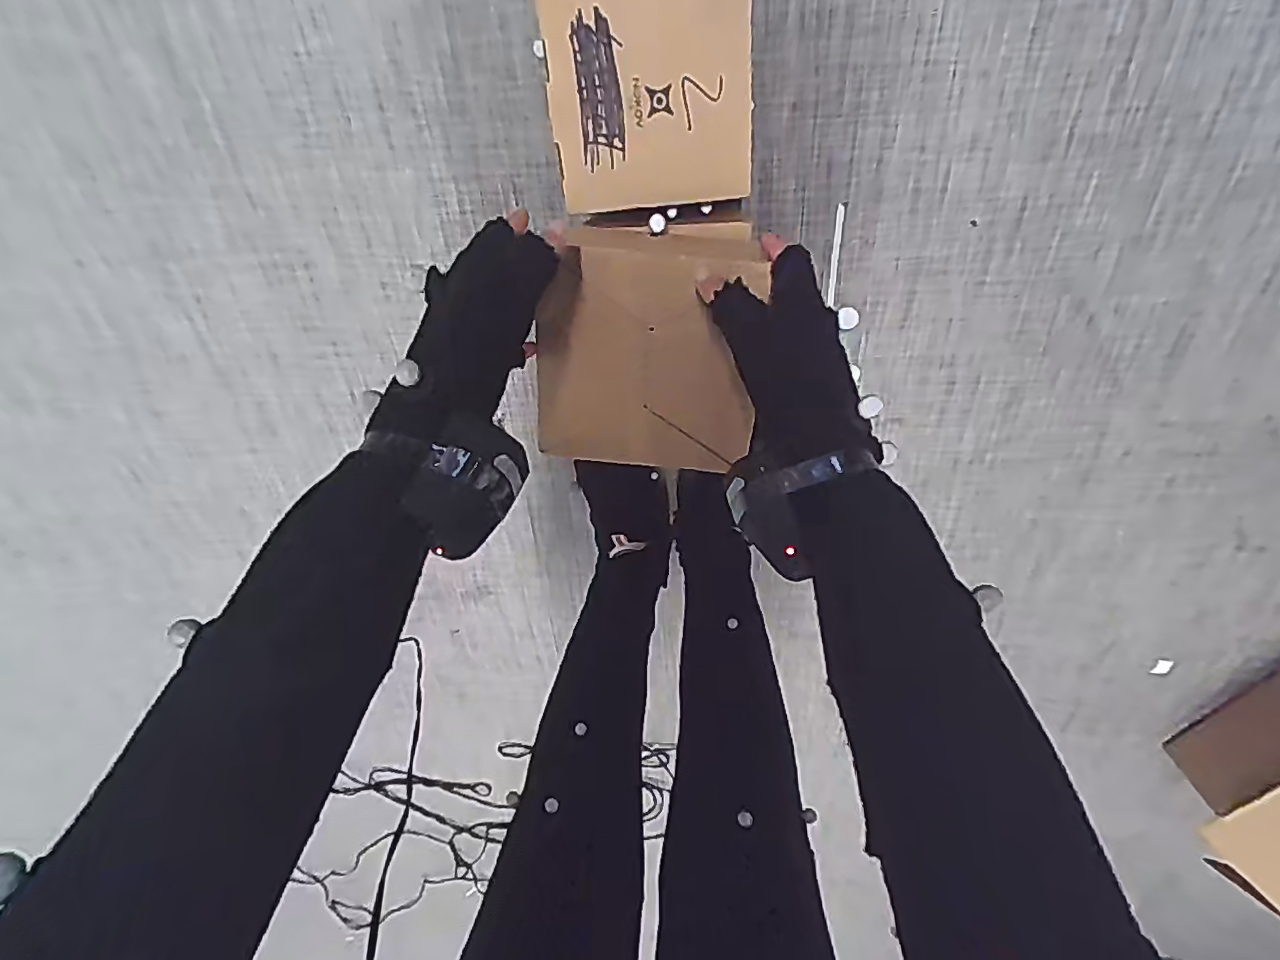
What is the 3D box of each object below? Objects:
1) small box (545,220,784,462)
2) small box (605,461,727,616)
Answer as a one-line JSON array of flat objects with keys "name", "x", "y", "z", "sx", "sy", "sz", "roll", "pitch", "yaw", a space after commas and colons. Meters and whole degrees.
[{"name": "small box", "x": 0.022, "y": -0.127, "z": 0.481, "sx": 0.179, "sy": 0.176, "sz": 0.168, "roll": 6, "pitch": 121, "yaw": 1}, {"name": "small box", "x": 0.031, "y": 0.087, "z": 0.838, "sx": 0.168, "sy": 0.176, "sz": 0.179, "roll": -2, "pitch": 123, "yaw": -4}]
